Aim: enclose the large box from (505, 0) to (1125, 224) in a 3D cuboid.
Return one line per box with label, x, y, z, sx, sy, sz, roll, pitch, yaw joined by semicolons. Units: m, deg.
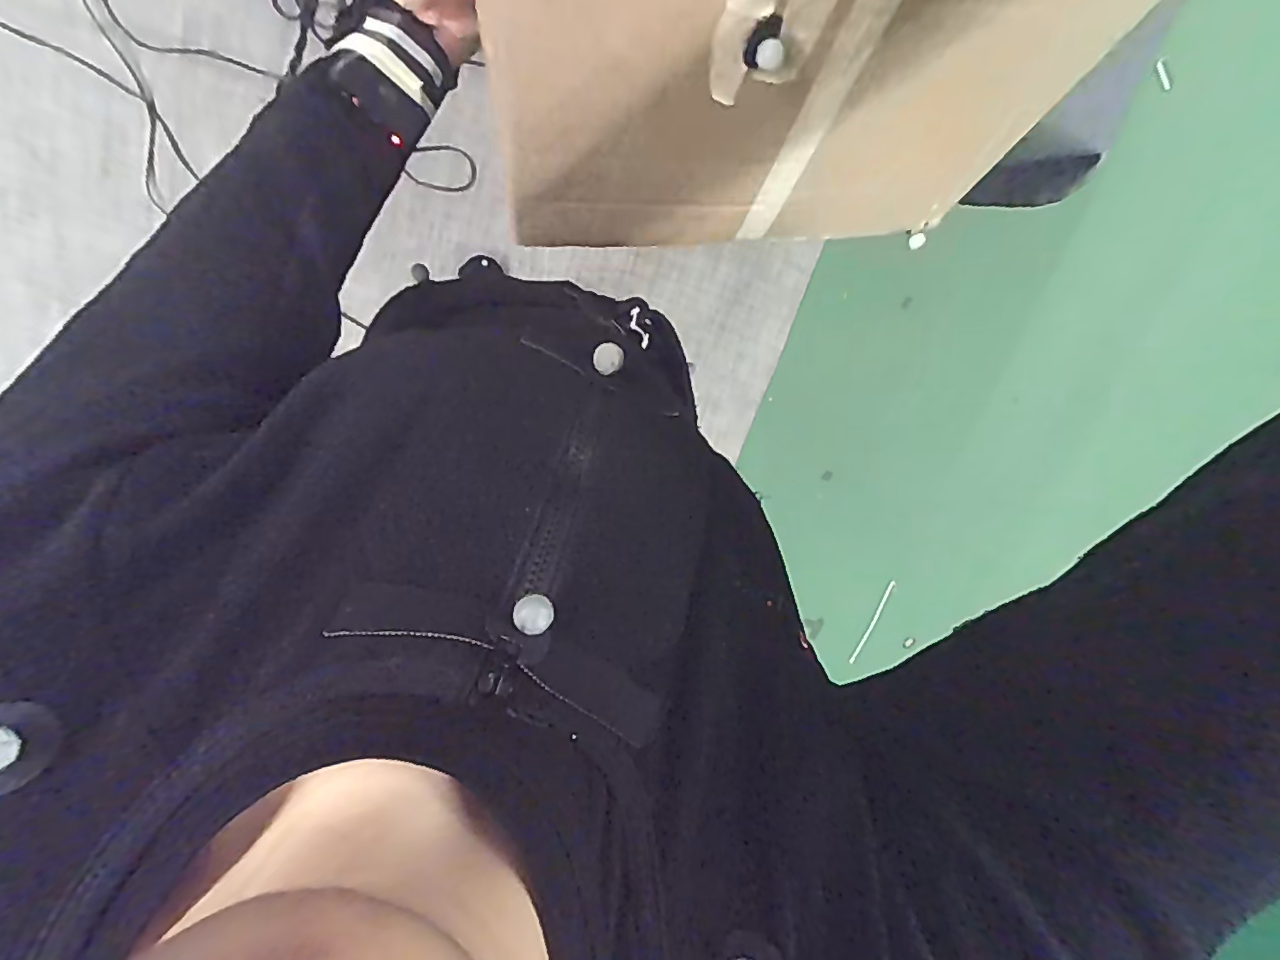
large box;0.087;-0.382;0.226;0.320;0.408;0.320;-9;79;-12
